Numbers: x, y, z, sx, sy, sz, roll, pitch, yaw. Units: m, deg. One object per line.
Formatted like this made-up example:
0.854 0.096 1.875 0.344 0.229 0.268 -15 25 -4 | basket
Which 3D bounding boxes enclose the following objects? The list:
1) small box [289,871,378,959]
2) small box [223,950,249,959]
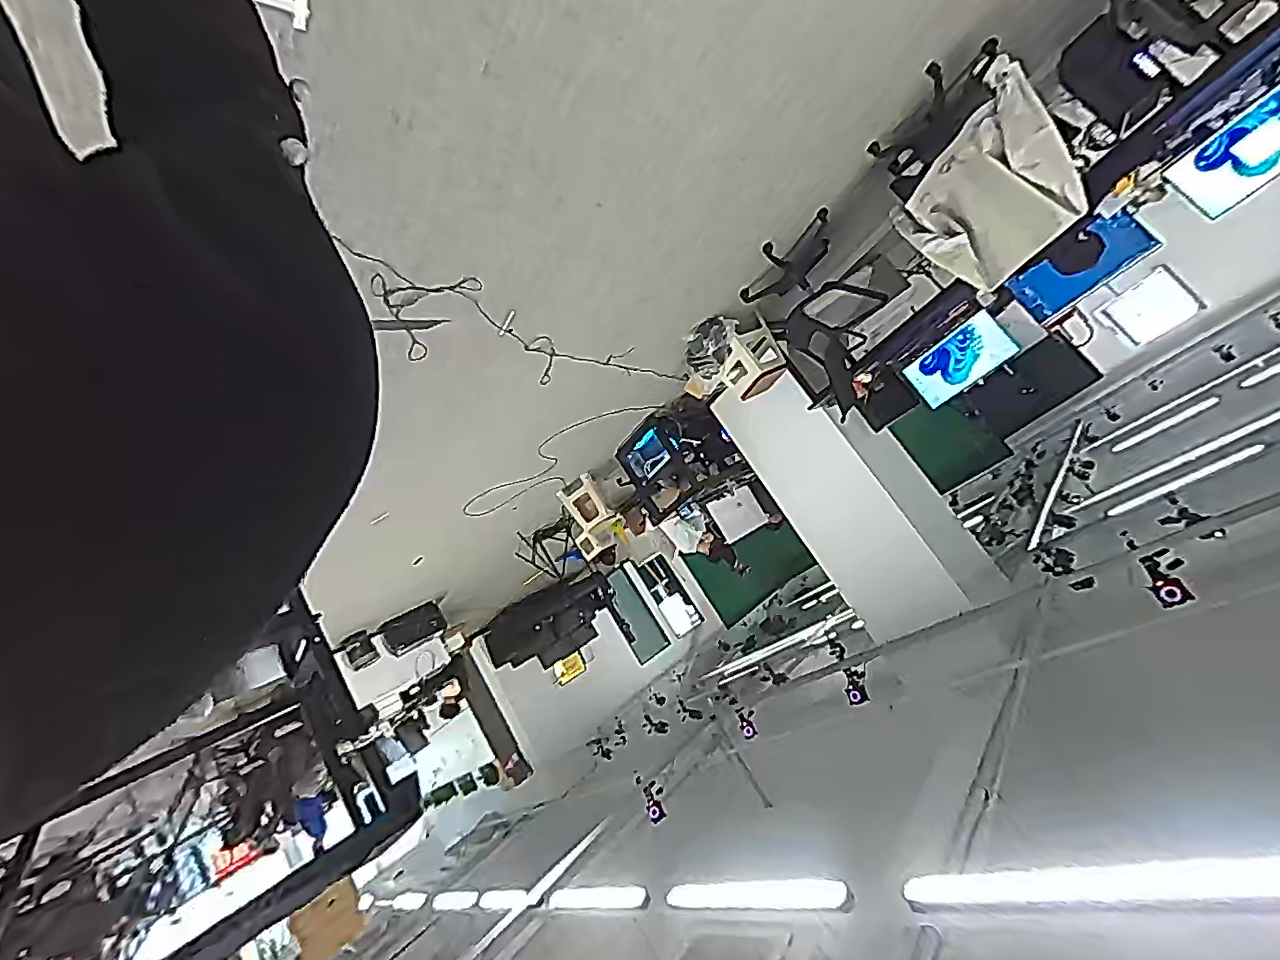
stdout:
-0.894 1.275 1.568 0.168 0.176 0.179 -19 162 -46 | small box
-1.071 1.342 1.371 0.168 0.176 0.179 -20 164 -48 | small box
